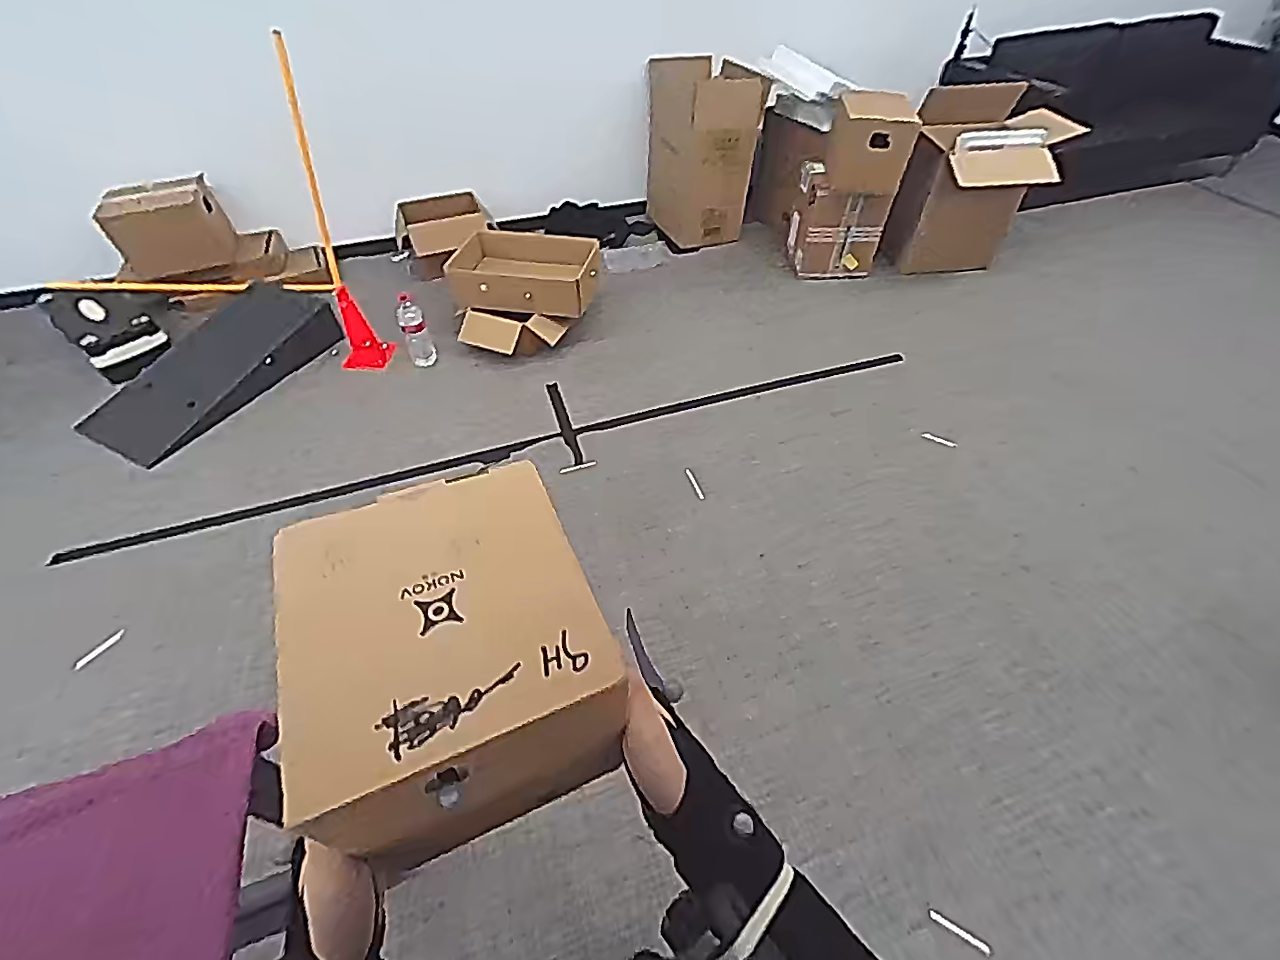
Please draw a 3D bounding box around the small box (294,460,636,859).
[{"bbox_3d":[-0.112,0.120,0.372,0.168,0.176,0.179,-18,51,-17],"label":"small box"}]
